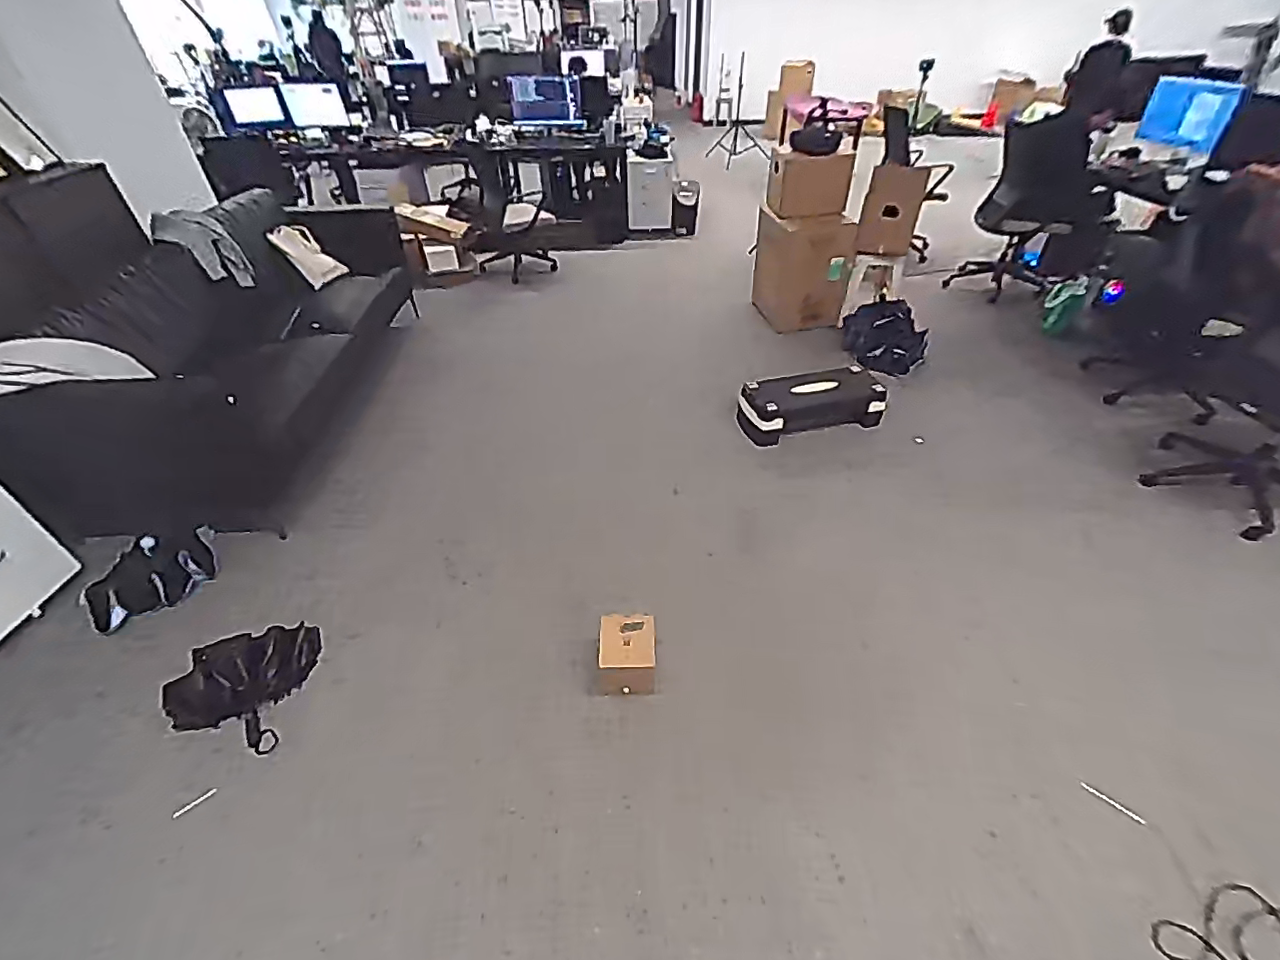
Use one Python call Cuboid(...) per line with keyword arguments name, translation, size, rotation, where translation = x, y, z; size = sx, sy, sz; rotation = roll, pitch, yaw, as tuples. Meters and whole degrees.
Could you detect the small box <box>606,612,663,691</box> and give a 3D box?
Cuboid(name="small box", translation=(-0.013, 0.527, 1.662), size=(0.168, 0.176, 0.179), rotation=(-2, 41, 2))
